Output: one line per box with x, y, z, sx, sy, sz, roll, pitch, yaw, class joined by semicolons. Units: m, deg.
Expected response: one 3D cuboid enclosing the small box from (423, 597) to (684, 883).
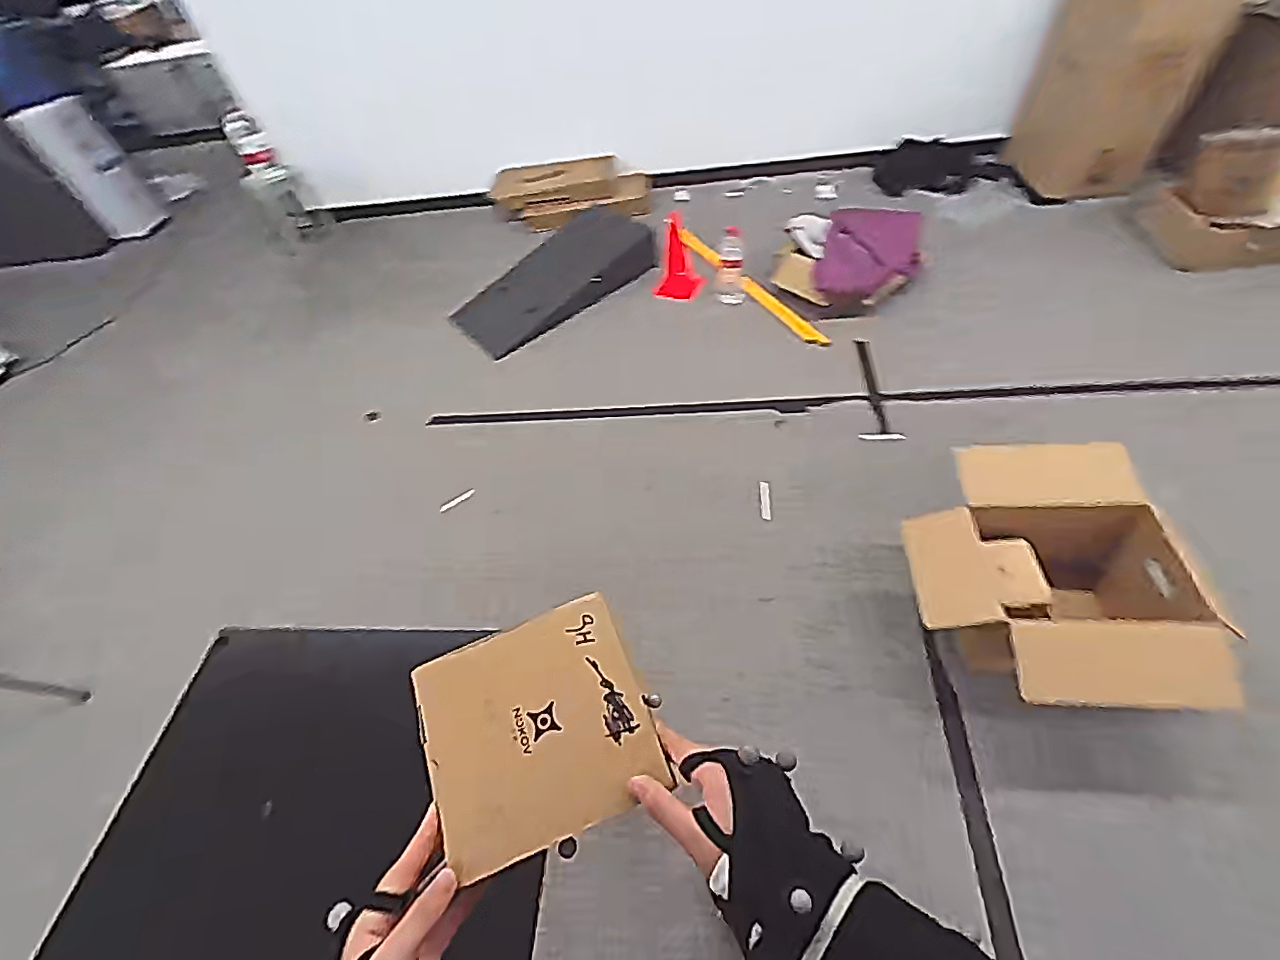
-0.070;0.236;0.503;0.179;0.176;0.168;-22;61;-4;small box
